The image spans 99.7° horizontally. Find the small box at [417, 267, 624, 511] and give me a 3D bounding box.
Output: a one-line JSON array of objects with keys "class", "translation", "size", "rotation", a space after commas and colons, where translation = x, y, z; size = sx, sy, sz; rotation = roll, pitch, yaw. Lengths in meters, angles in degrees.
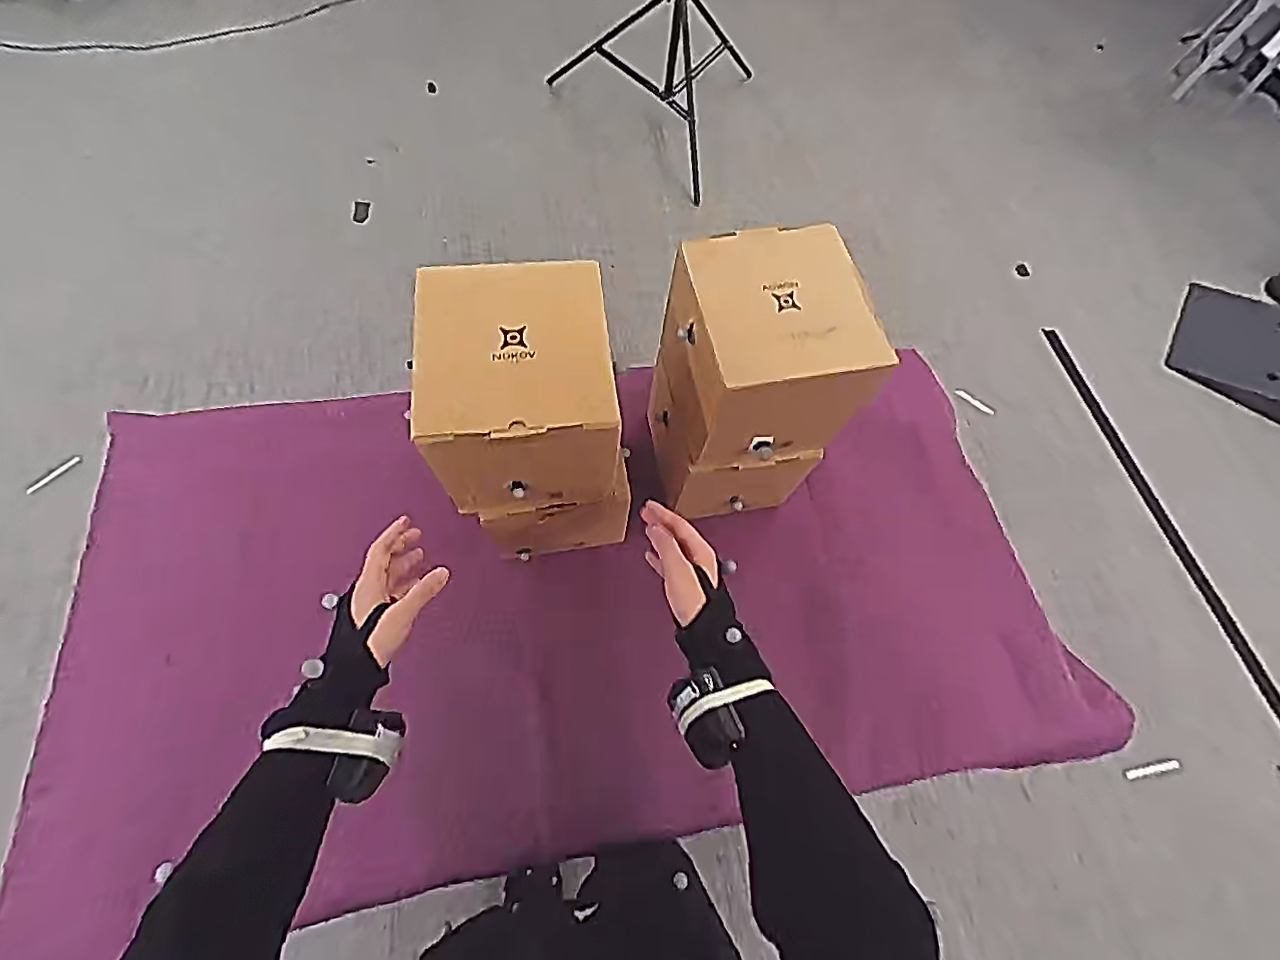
[{"class": "small box", "translation": [-0.111, -0.083, 0.537], "size": [0.168, 0.176, 0.179], "rotation": [-5, 68, -7]}]

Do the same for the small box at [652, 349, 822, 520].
[{"class": "small box", "translation": [0.114, -0.063, 0.725], "size": [0.168, 0.176, 0.179], "rotation": [-8, 68, -7]}]

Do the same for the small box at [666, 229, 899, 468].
[{"class": "small box", "translation": [0.131, -0.134, 0.580], "size": [0.168, 0.176, 0.179], "rotation": [-10, 68, -9]}]

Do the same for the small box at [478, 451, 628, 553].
[{"class": "small box", "translation": [-0.110, -0.014, 0.685], "size": [0.168, 0.176, 0.179], "rotation": [-8, 67, -8]}]
